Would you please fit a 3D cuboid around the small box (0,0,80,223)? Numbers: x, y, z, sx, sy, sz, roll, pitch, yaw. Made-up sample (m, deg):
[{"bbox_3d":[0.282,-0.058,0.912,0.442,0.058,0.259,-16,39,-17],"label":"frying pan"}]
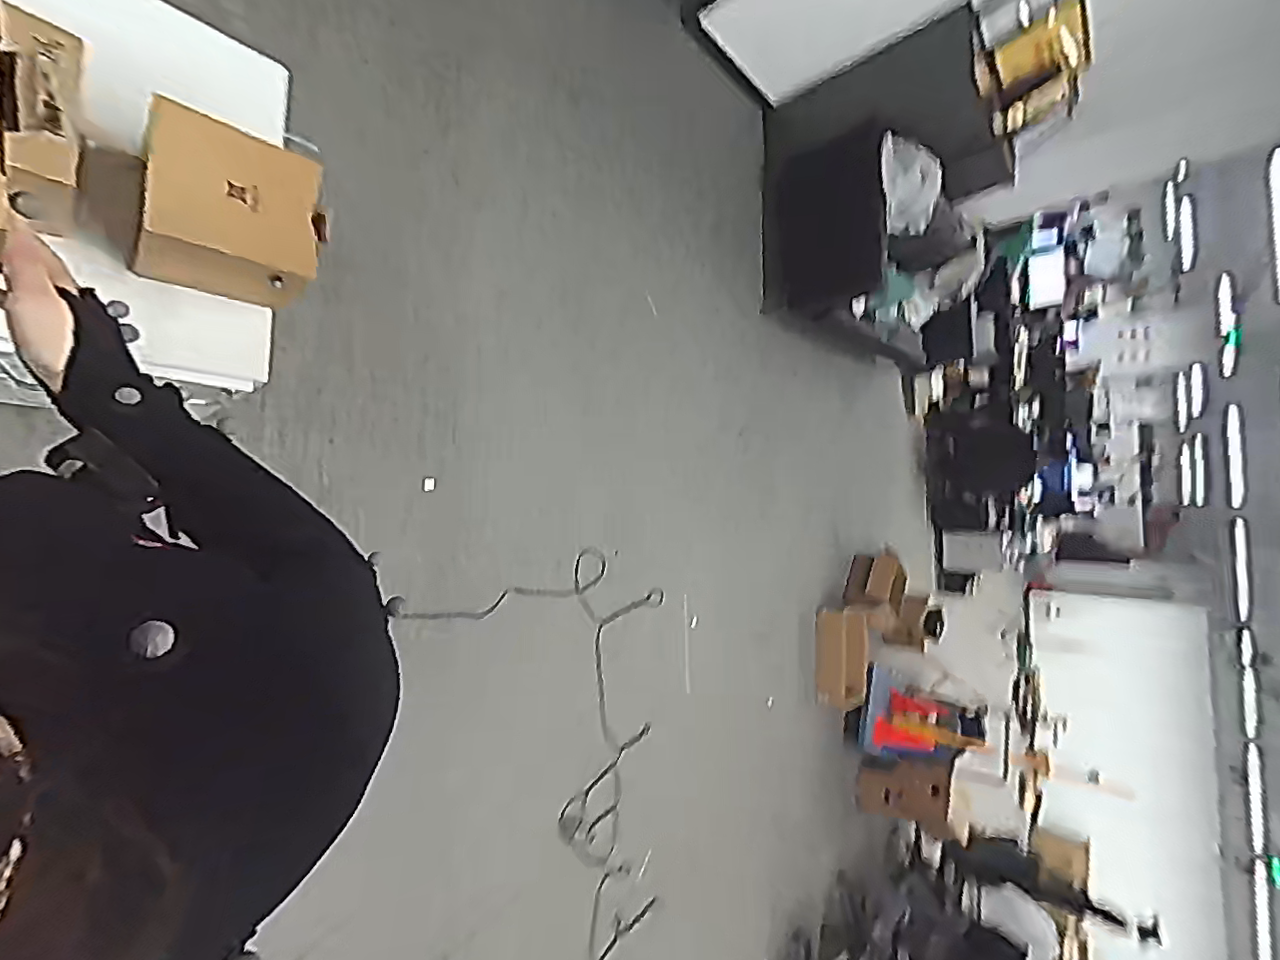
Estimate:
[{"bbox_3d":[-0.708,-0.393,0.551,0.179,0.176,0.168,5,85,-49],"label":"small box"}]
